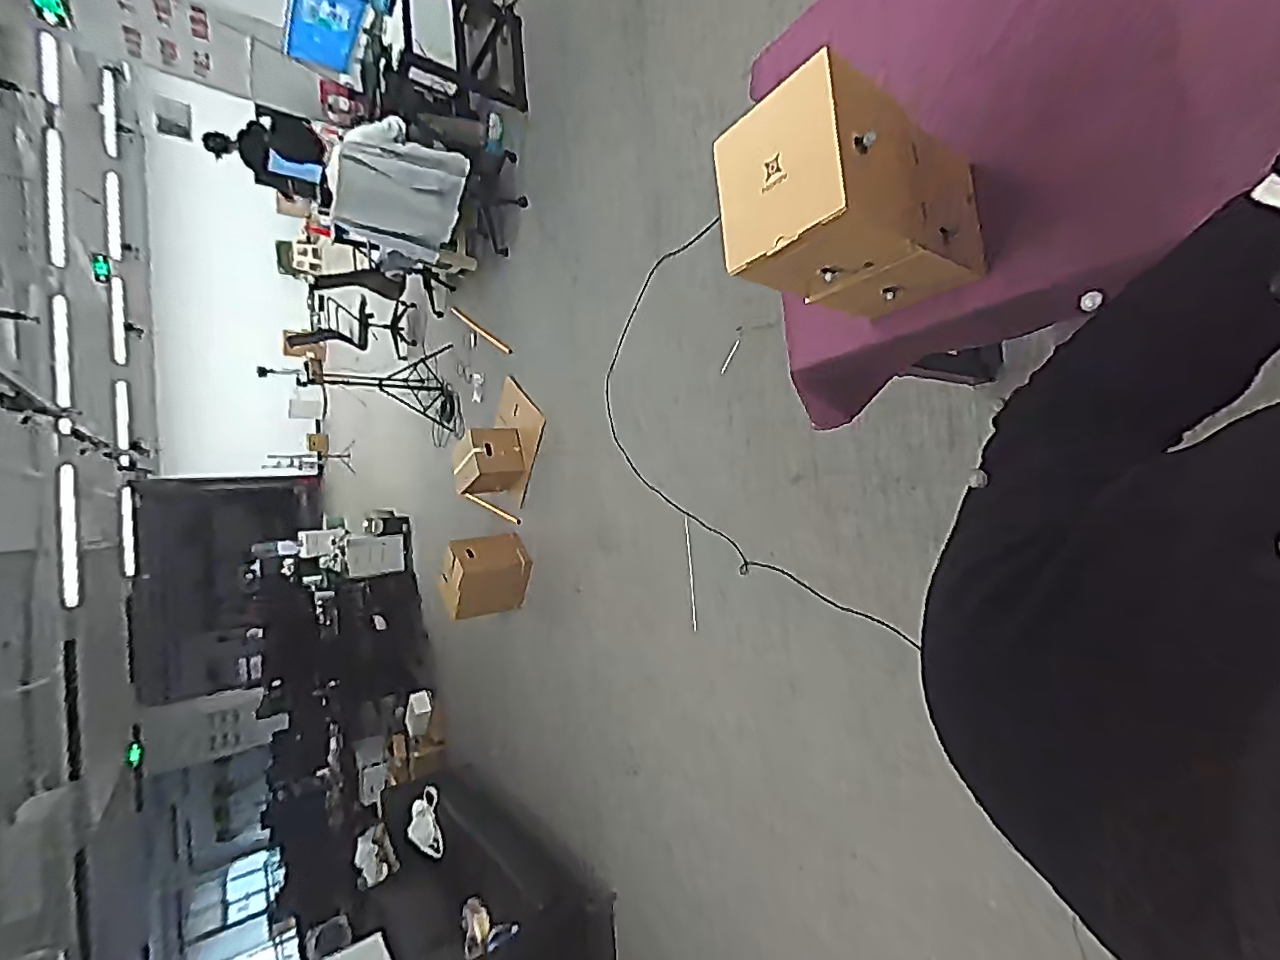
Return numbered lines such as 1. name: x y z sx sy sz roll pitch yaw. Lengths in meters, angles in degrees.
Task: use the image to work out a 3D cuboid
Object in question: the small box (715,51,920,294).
1. small box: 0.214 -0.350 0.658 0.168 0.176 0.179 -11 84 52
